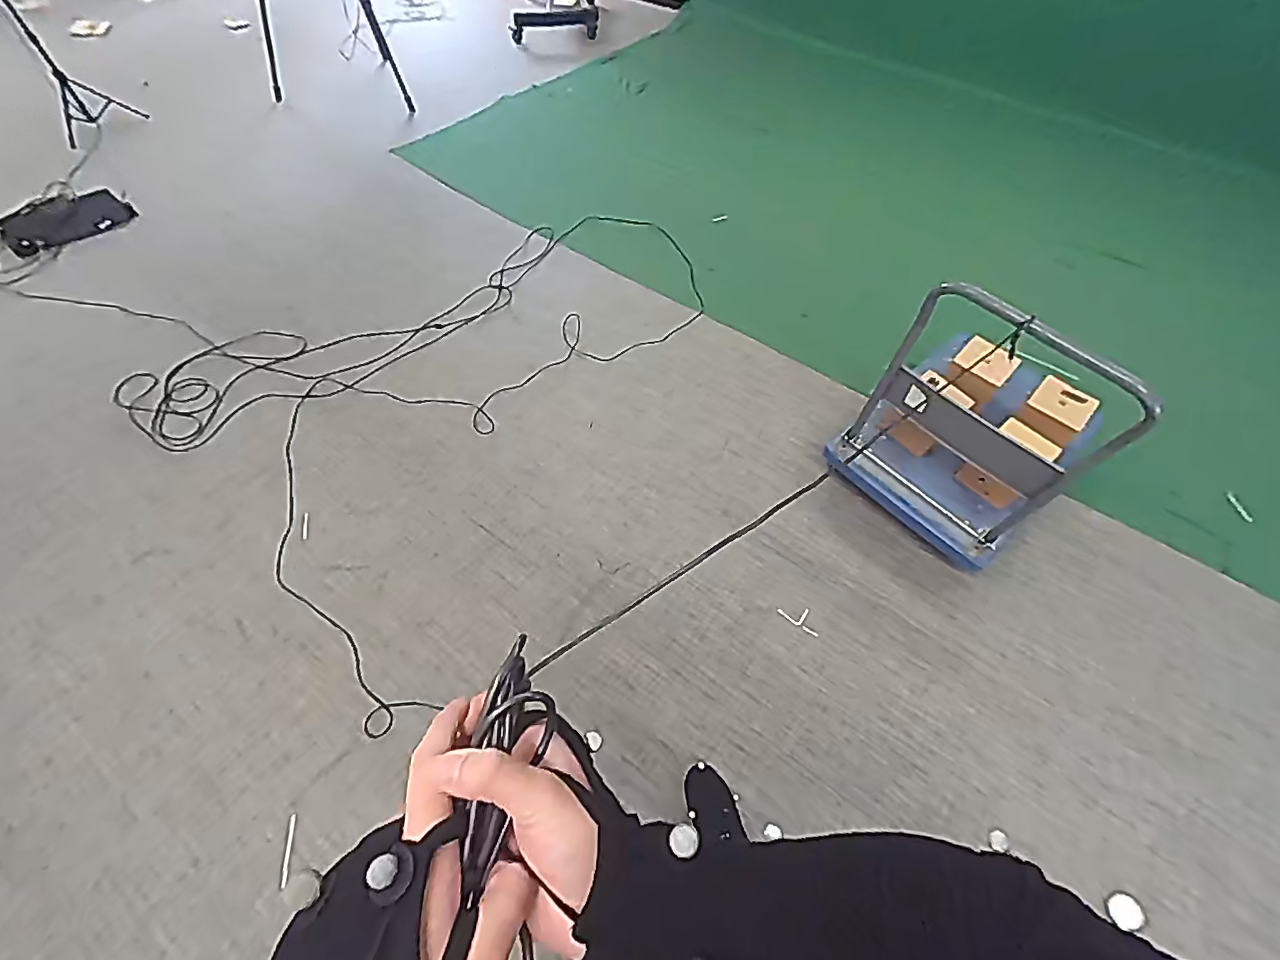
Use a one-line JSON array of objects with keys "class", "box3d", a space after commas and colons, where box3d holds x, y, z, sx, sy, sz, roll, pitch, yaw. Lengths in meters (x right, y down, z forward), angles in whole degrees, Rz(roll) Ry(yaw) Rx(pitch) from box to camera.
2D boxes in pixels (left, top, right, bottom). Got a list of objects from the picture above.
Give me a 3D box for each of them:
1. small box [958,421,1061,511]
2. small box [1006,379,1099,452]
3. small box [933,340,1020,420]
[{"class": "small box", "box3d": [1.113, -0.039, 1.644, 0.179, 0.176, 0.168, -35, 64, -22]}, {"class": "small box", "box3d": [1.315, -0.187, 1.748, 0.168, 0.176, 0.179, 40, 64, 23]}, {"class": "small box", "box3d": [1.135, -0.336, 1.841, 0.168, 0.176, 0.179, 41, 64, 21]}]
